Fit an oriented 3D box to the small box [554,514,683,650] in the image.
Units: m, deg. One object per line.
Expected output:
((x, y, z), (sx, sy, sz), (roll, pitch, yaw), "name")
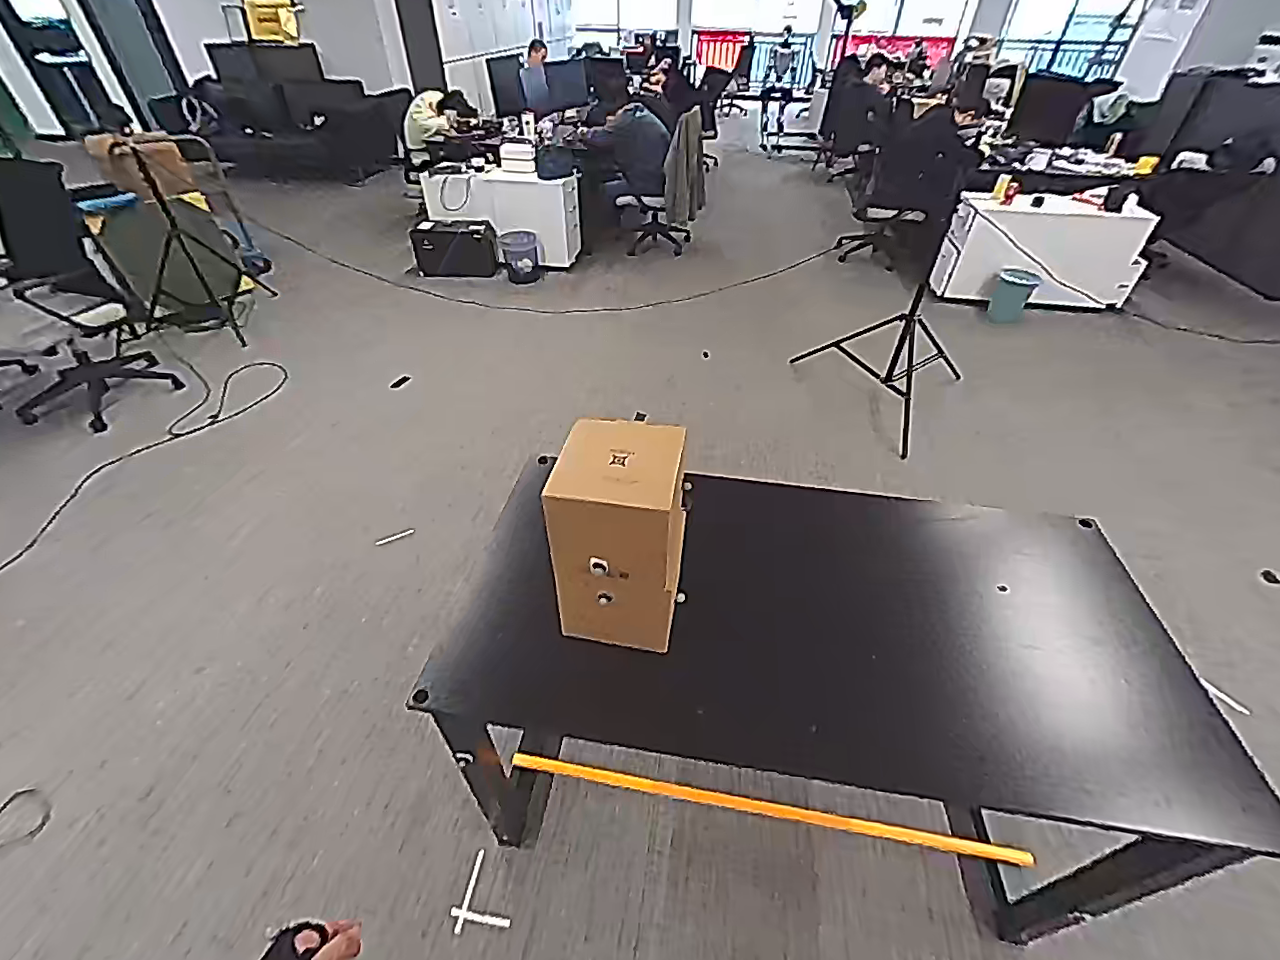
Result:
((-0.029, 0.159, 0.895), (0.179, 0.176, 0.168), (8, 42, 7), "small box")

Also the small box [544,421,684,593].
((-0.030, 0.037, 0.788), (0.168, 0.176, 0.179), (6, 42, 7), "small box")
